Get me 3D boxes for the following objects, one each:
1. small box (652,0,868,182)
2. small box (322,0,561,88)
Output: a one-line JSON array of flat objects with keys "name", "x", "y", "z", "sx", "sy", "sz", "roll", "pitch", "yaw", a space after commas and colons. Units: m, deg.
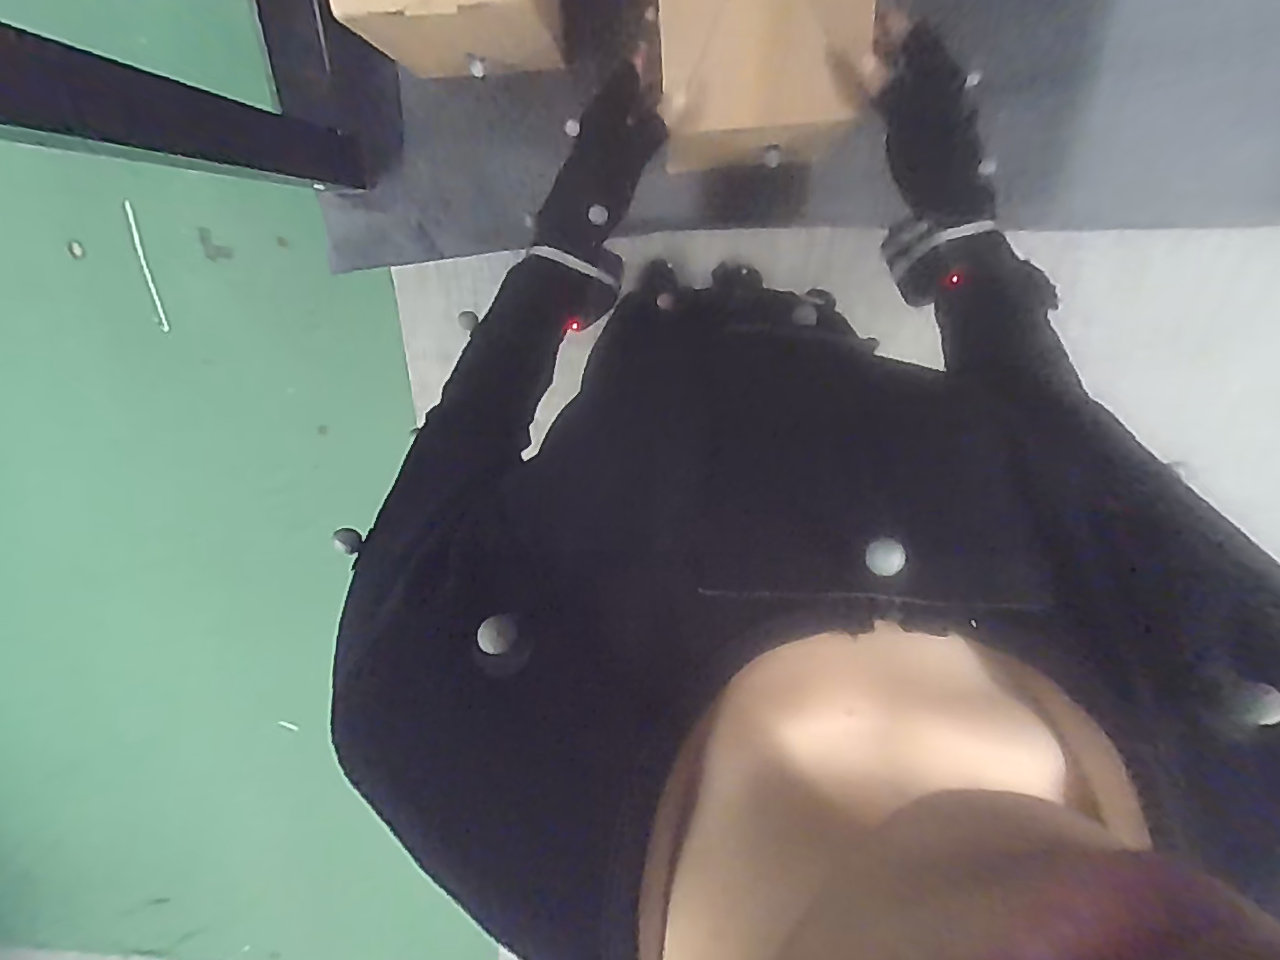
[{"name": "small box", "x": 0.097, "y": -0.392, "z": 0.493, "sx": 0.168, "sy": 0.176, "sz": 0.179, "roll": -2, "pitch": 109, "yaw": 4}, {"name": "small box", "x": -0.171, "y": -0.481, "z": 0.479, "sx": 0.168, "sy": 0.176, "sz": 0.179, "roll": 0, "pitch": 111, "yaw": 4}]
